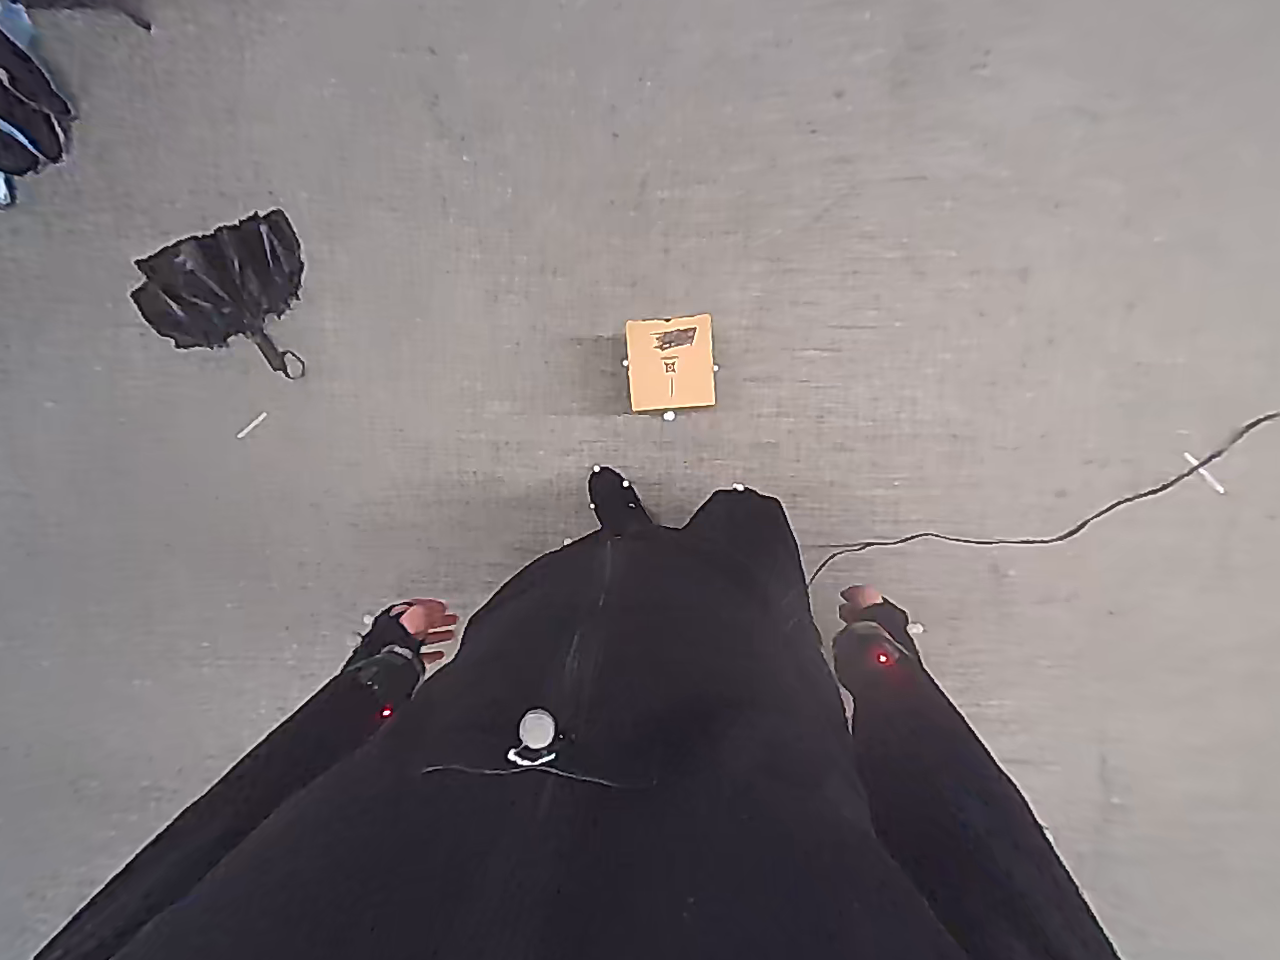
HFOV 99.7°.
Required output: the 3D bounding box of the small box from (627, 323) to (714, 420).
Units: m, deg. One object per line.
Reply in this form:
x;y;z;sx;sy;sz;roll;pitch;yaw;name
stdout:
0.061;-0.219;1.126;0.168;0.176;0.179;-3;95;3;small box
